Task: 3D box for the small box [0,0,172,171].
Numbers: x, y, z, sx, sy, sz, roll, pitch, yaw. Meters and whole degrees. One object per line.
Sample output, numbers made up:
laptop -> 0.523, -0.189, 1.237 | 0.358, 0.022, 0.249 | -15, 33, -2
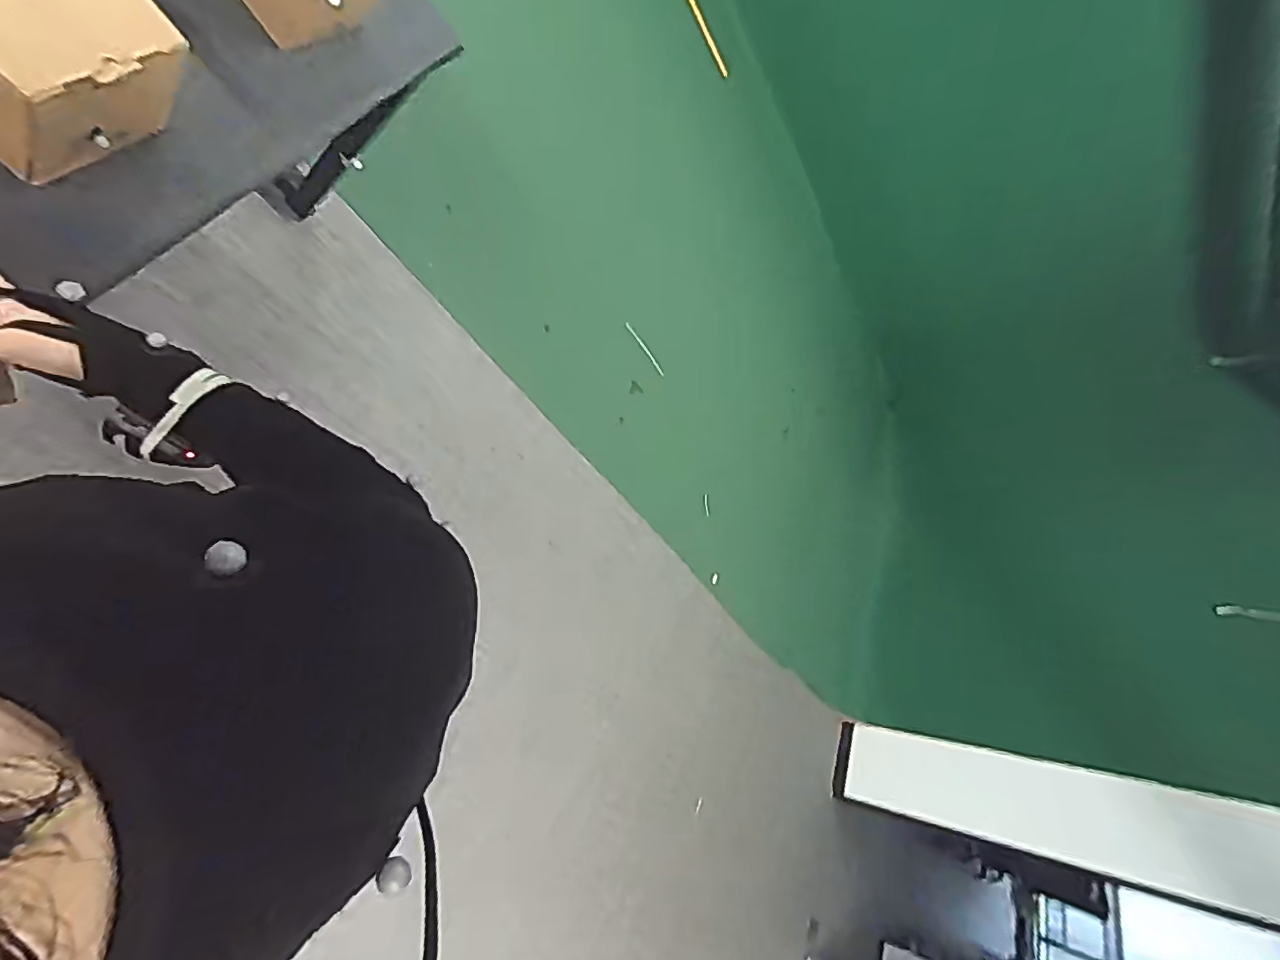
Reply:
small box -> -0.603, -0.433, 0.499 | 0.179, 0.176, 0.168 | 52, 48, -34
